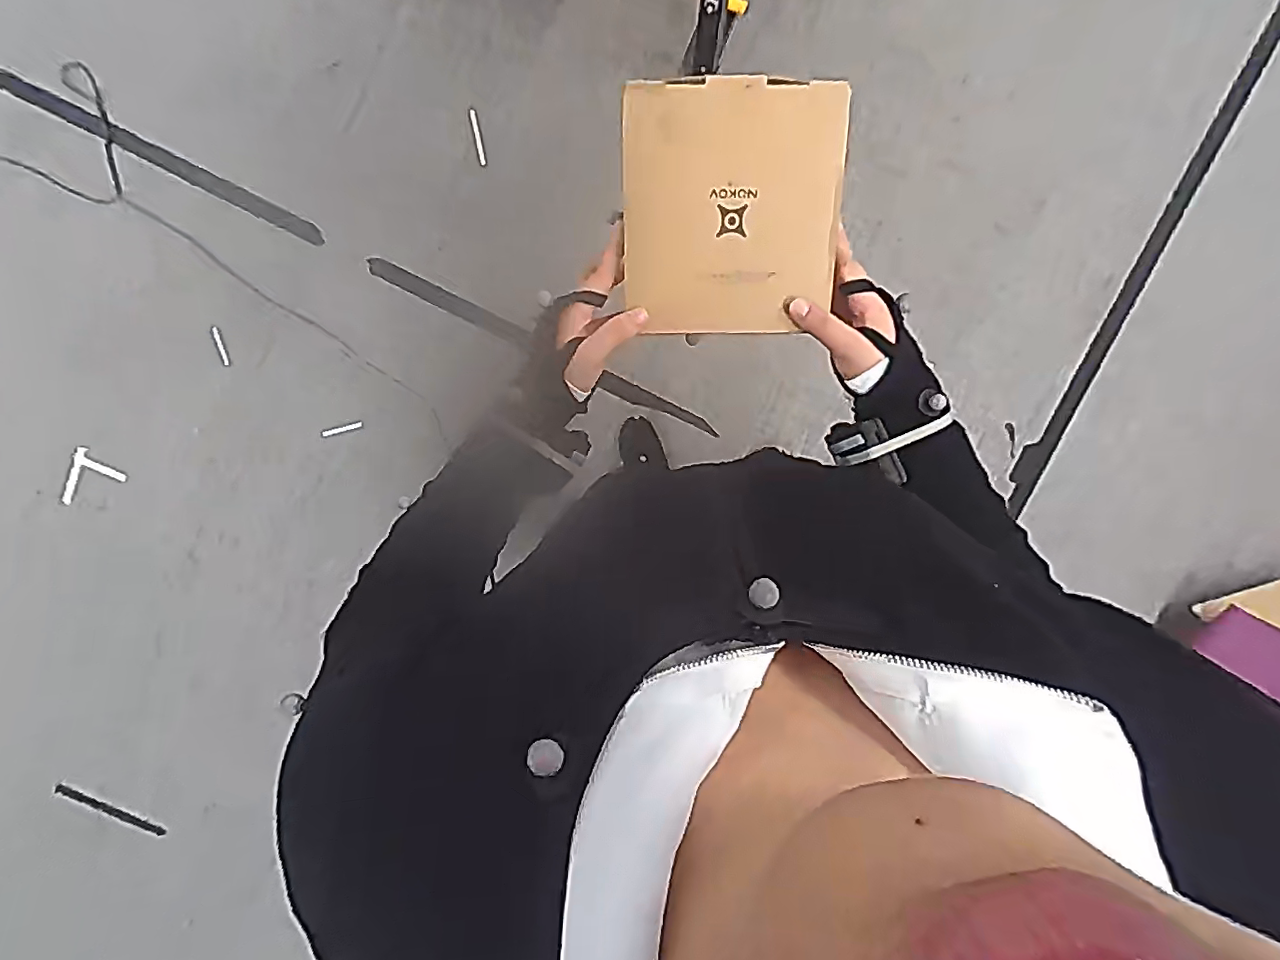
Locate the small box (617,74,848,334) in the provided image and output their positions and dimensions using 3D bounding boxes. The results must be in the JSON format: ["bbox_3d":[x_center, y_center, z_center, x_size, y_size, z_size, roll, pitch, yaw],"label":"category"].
[{"bbox_3d":[0.063,-0.223,0.477,0.168,0.176,0.179,-1,108,-1],"label":"small box"}]

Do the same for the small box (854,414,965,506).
[{"bbox_3d":[0.673,-0.055,1.380,0.168,0.176,0.179,26,96,-1],"label":"small box"}]
